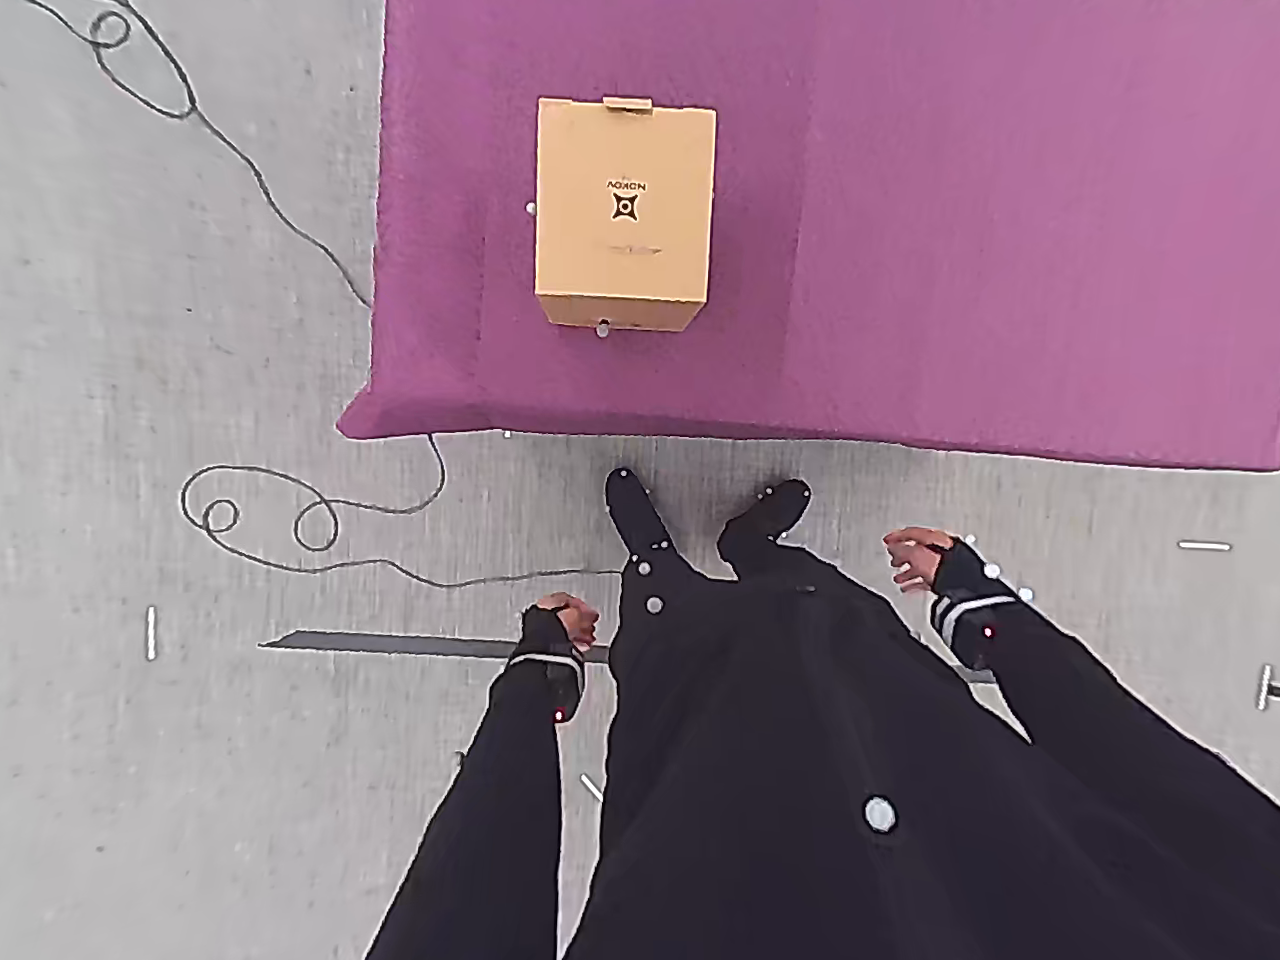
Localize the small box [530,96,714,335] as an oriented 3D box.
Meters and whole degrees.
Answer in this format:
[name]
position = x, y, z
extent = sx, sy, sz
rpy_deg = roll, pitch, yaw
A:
[small box]
position = -0.022, -0.264, 0.579
extent = 0.168, 0.176, 0.179
rpy_deg = 2, 95, -3
